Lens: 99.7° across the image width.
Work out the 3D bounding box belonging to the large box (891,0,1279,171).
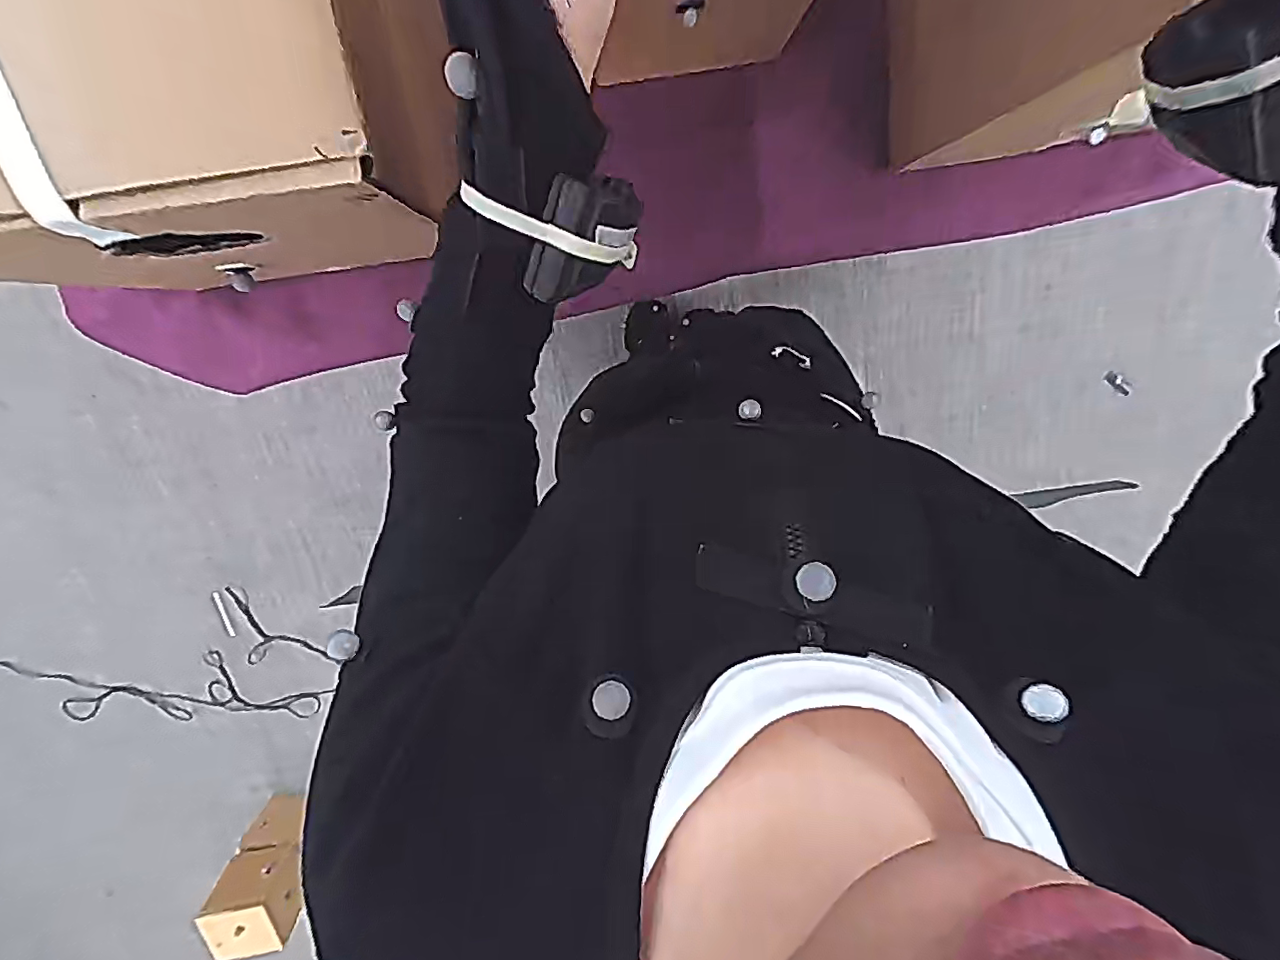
[{"bbox_3d":[0.371,-0.478,0.338,0.320,0.320,0.408,-10,106,1],"label":"large box"}]
